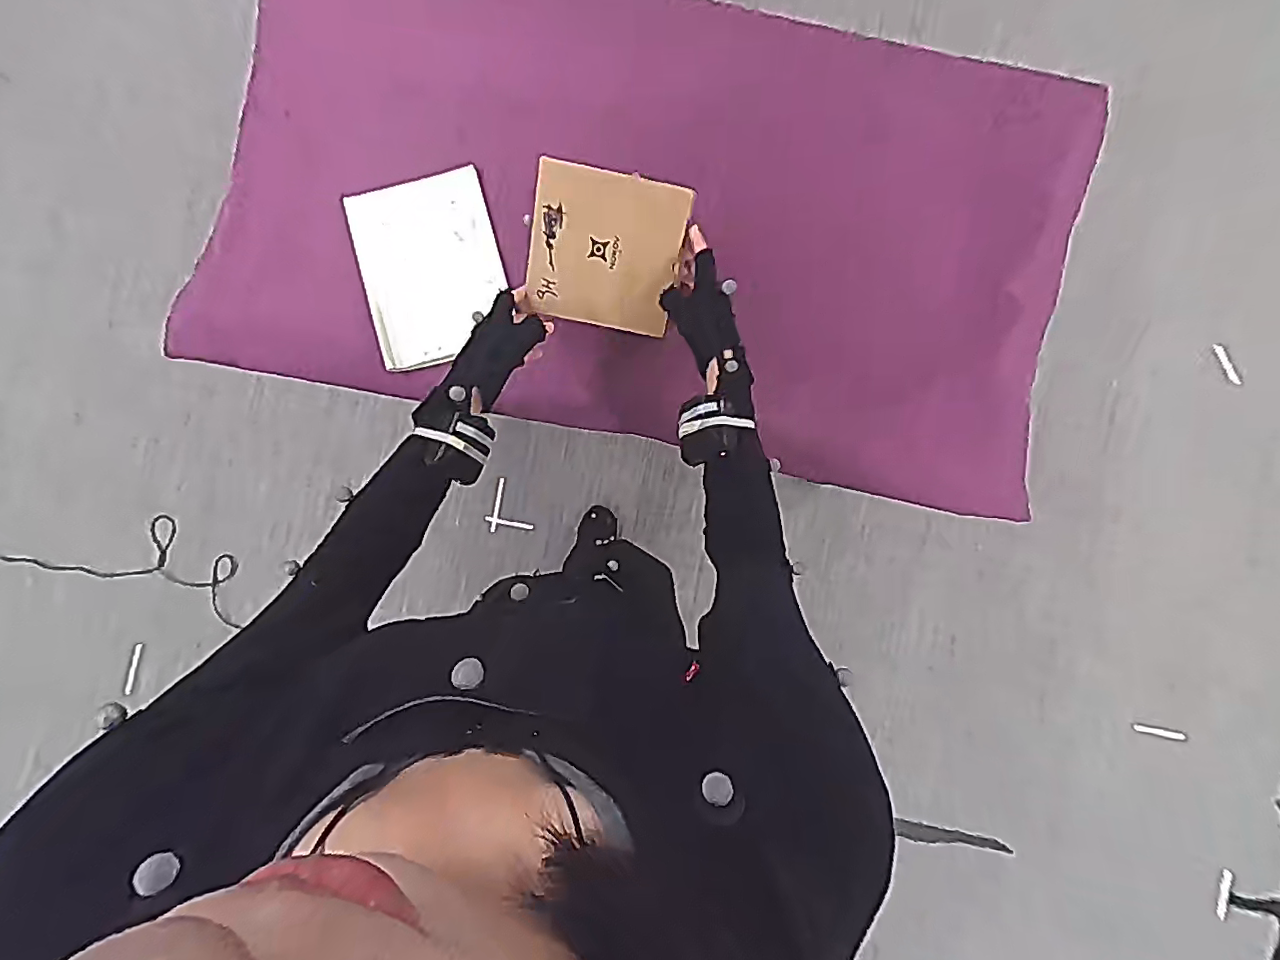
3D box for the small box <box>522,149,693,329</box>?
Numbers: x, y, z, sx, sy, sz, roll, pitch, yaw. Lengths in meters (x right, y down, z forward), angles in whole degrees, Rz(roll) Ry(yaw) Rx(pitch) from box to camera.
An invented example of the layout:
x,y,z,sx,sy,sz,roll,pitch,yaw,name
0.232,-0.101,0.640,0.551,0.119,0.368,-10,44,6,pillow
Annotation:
x,y,z,sx,sy,sz,roll,pitch,yaw,name
-0.040,-0.296,0.691,0.179,0.176,0.168,9,108,-3,small box
